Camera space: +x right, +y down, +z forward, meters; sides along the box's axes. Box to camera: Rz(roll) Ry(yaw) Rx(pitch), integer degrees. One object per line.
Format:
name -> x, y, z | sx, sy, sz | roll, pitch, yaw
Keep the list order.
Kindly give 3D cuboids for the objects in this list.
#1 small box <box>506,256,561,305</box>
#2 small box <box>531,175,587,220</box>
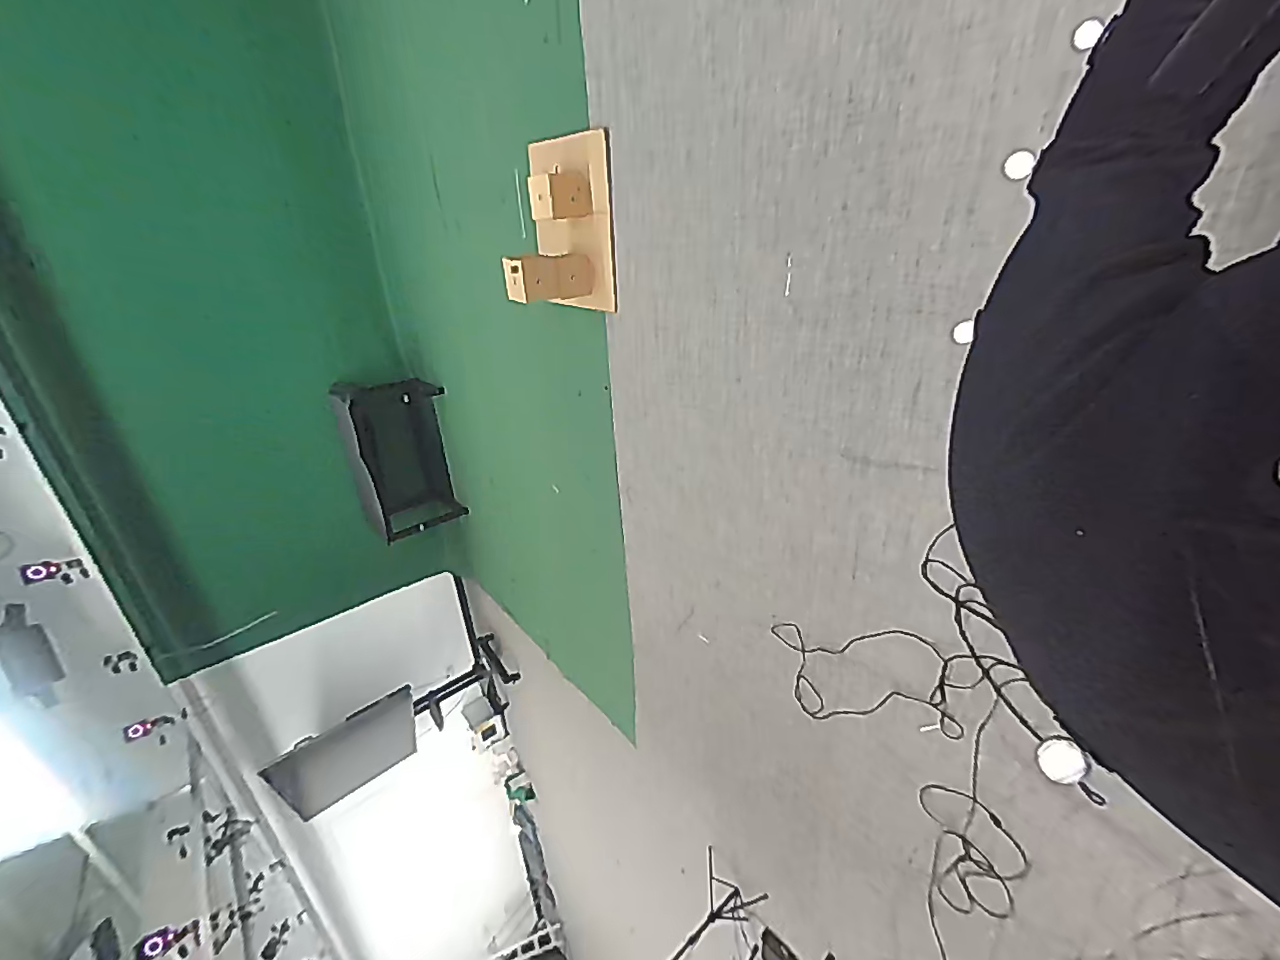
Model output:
small box -> -0.465, -0.882, 2.375 | 0.168, 0.176, 0.179 | 29, 132, 43
small box -> -0.346, -1.212, 2.328 | 0.179, 0.176, 0.168 | 24, 127, 45
